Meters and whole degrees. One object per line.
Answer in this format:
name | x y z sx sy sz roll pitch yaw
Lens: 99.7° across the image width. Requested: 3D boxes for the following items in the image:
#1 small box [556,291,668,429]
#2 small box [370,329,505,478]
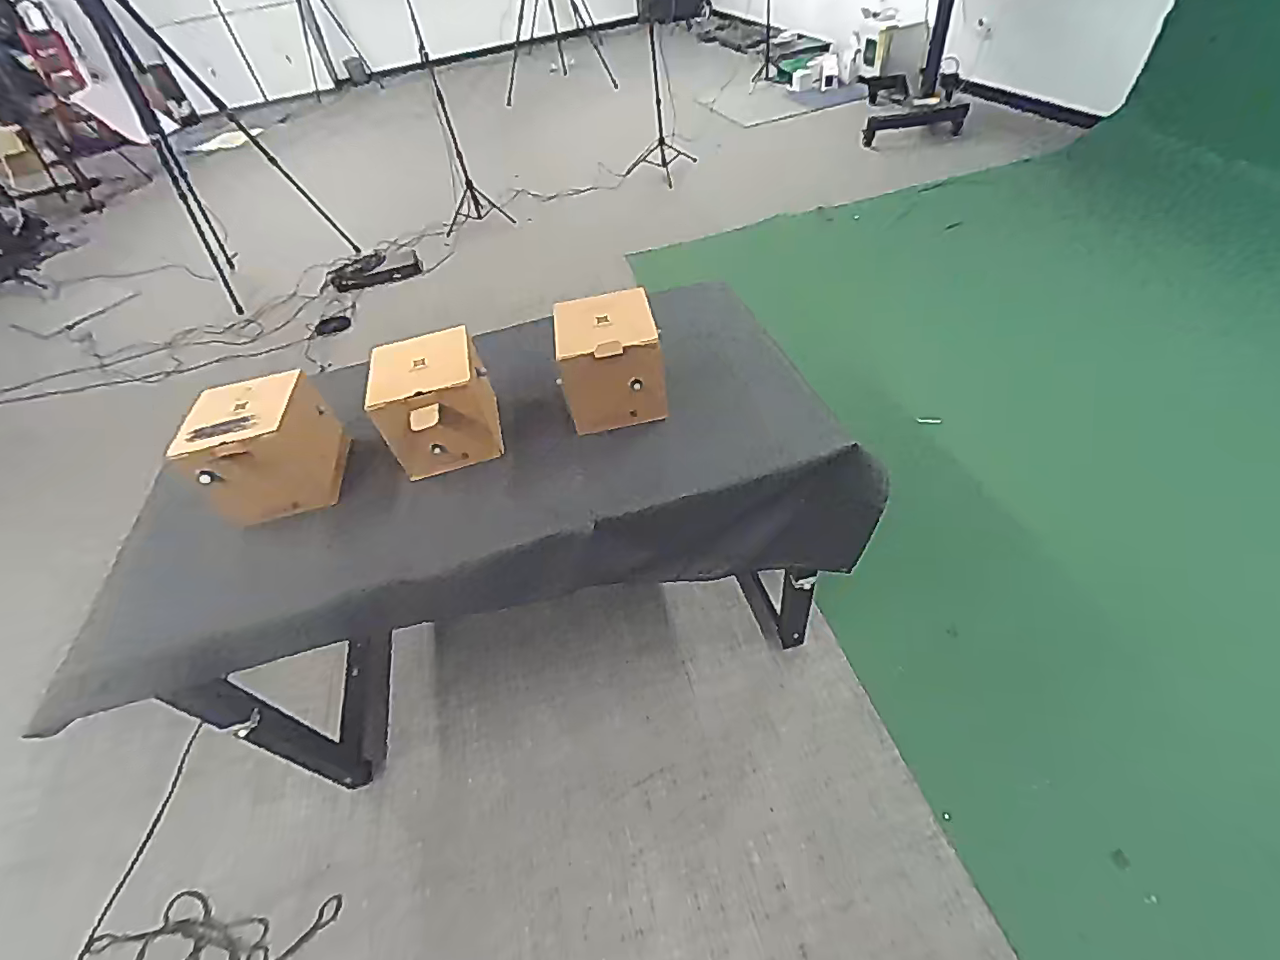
small box | -0.047 -0.206 0.959 0.168 0.176 0.179 -10 46 -1
small box | -0.345 -0.132 0.944 0.168 0.176 0.179 -16 48 -5
